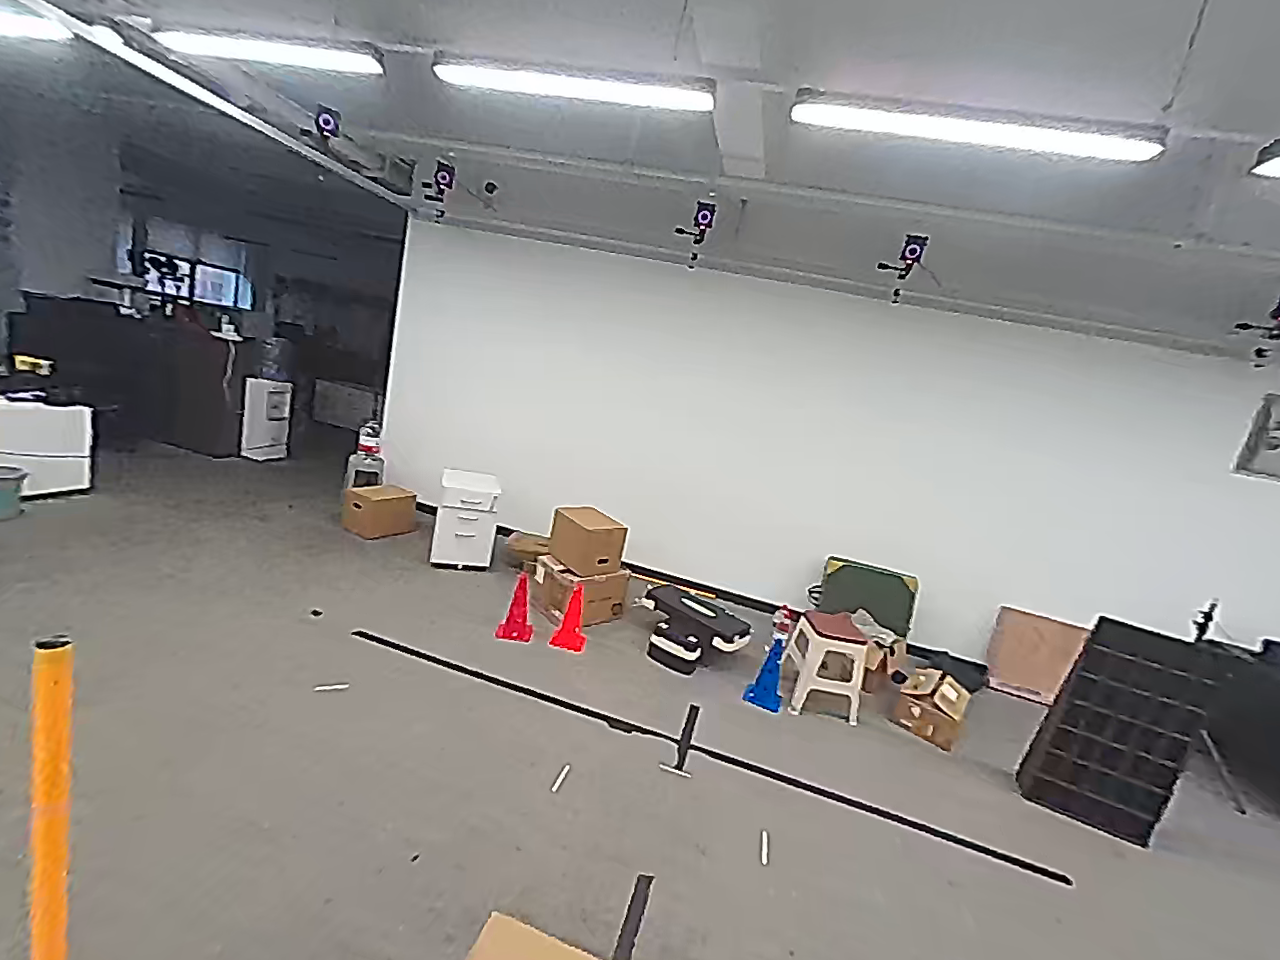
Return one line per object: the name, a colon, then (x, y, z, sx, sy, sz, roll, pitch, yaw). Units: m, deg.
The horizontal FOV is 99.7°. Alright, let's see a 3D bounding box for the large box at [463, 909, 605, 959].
large box: (-0.178, 1.079, 0.938, 0.408, 0.320, 0.320, 15, 13, 13)
